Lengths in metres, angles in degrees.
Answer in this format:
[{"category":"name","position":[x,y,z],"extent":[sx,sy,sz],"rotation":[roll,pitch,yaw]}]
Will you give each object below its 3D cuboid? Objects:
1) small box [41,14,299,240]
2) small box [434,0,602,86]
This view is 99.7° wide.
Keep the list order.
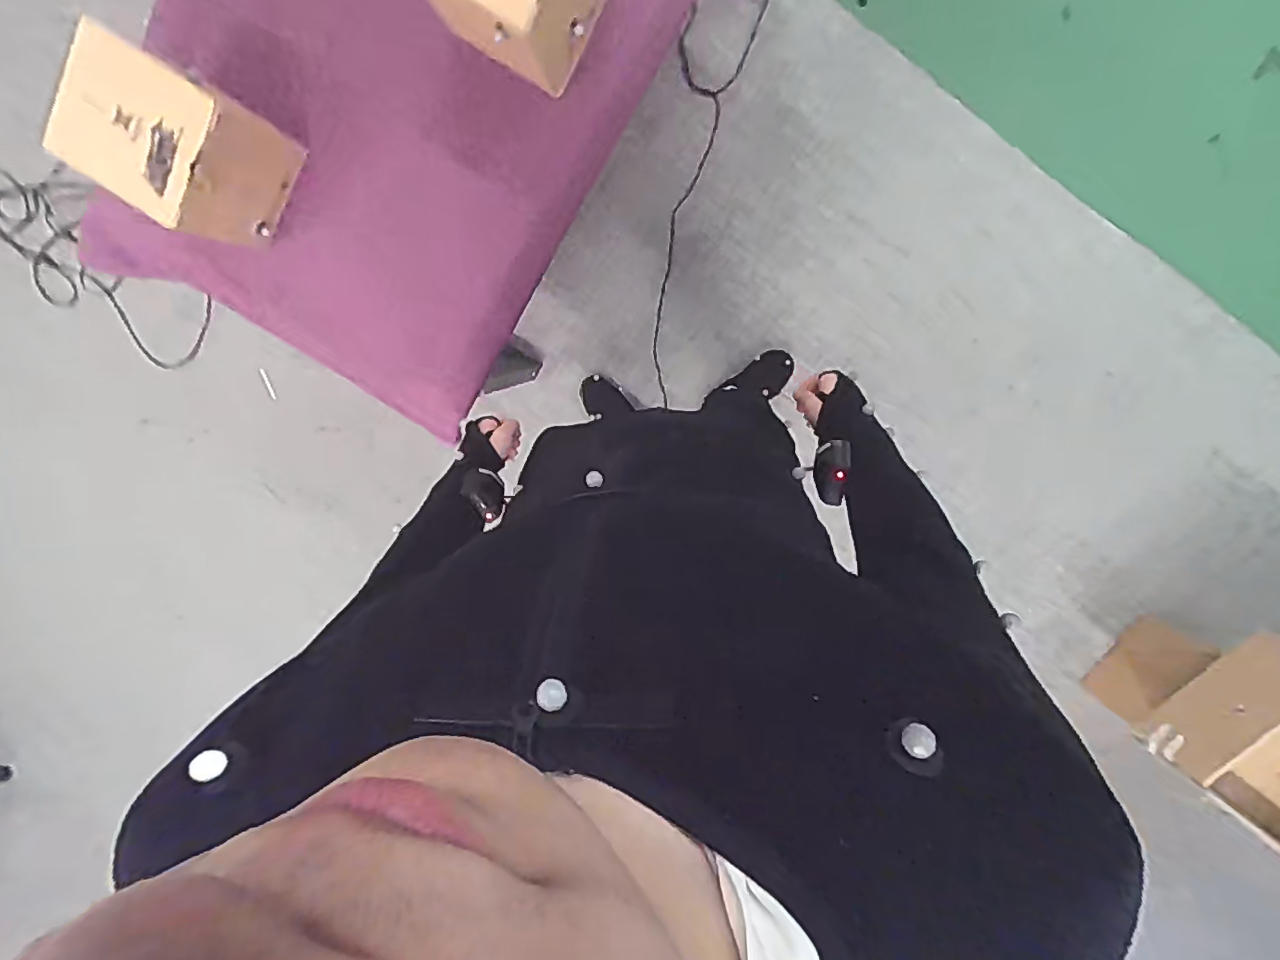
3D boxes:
[{"category":"small box","position":[-0.608,-0.446,0.724],"extent":[0.179,0.176,0.168],"rotation":[33,103,-5]},{"category":"small box","position":[-0.157,-0.629,0.653],"extent":[0.179,0.176,0.168],"rotation":[30,104,-5]}]
